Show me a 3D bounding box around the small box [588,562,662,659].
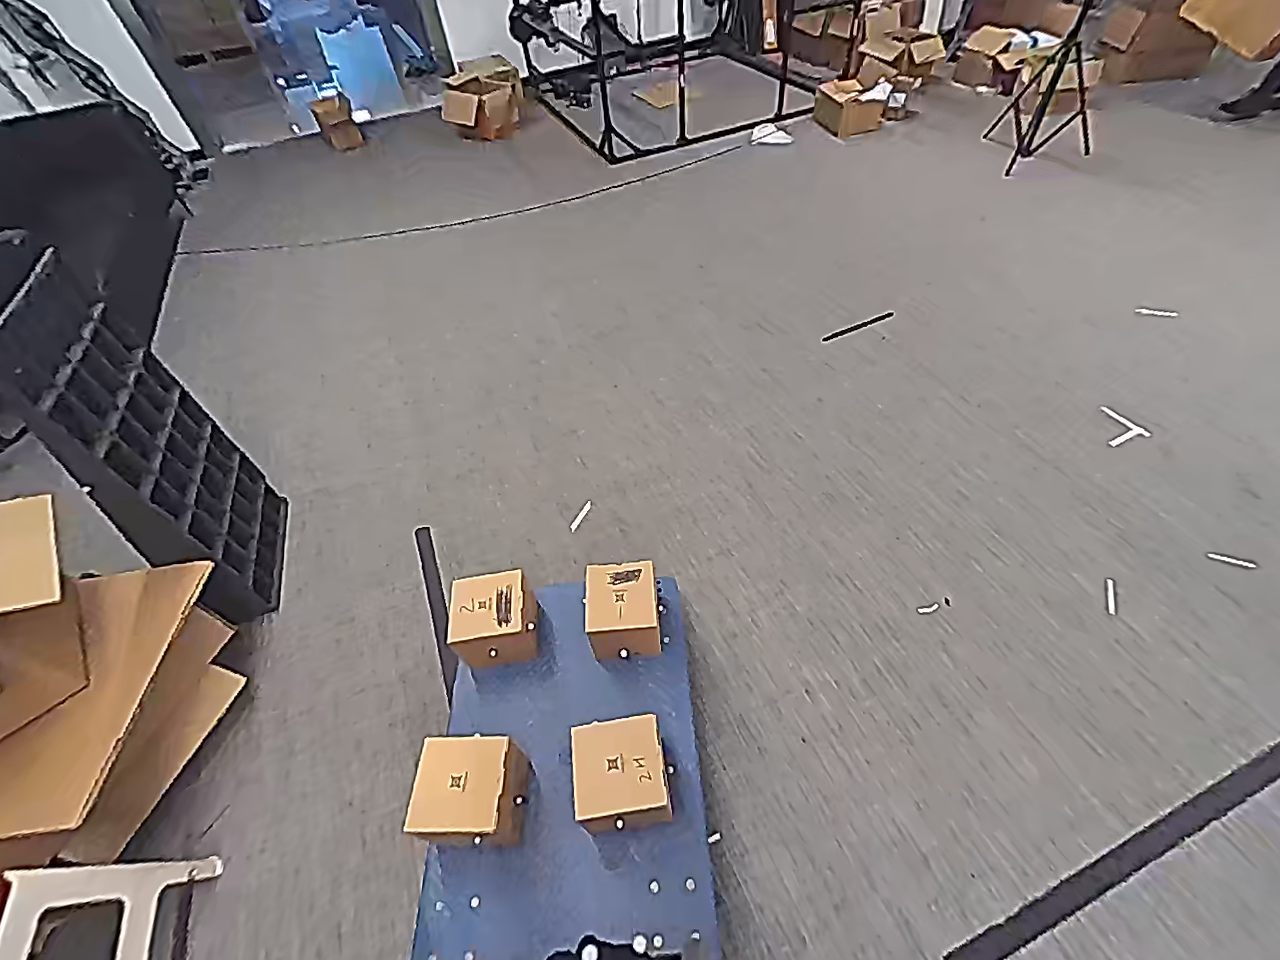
[{"bbox_3d":[-0.033,0.321,1.329,0.168,0.176,0.179,-5,51,2],"label":"small box"}]

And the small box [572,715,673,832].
[{"bbox_3d":[-0.034,0.598,1.096,0.179,0.176,0.168,-8,50,-1],"label":"small box"}]

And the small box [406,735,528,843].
[{"bbox_3d":[-0.341,0.633,1.102,0.179,0.176,0.168,-2,49,3],"label":"small box"}]
